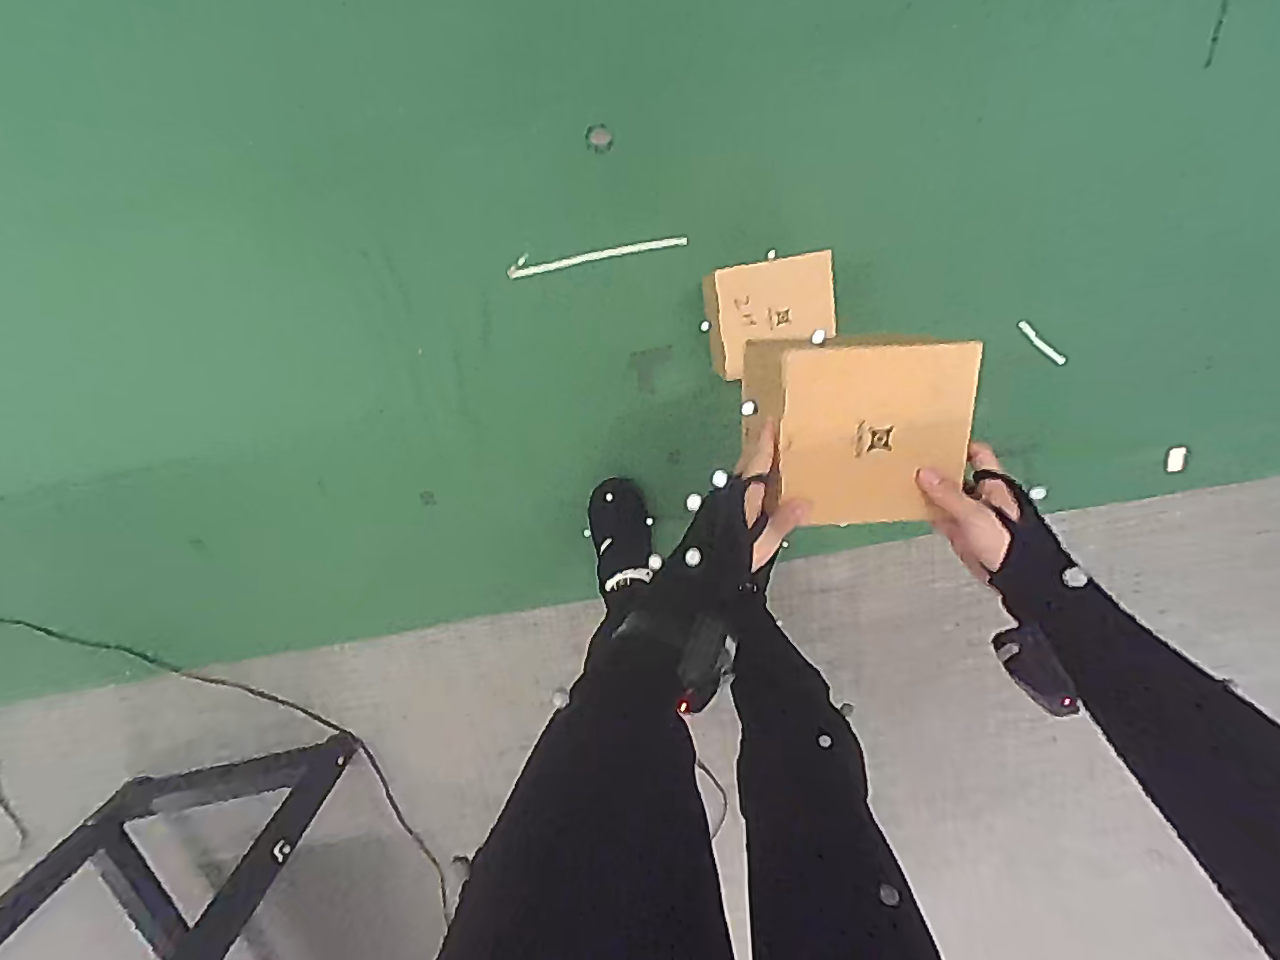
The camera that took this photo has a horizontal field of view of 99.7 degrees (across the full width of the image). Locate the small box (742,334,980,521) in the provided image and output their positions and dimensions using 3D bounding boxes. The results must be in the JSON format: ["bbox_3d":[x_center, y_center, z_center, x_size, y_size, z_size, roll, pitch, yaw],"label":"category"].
[{"bbox_3d":[0.214,-0.065,0.574,0.179,0.176,0.168,-2,107,0],"label":"small box"}]

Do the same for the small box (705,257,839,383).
[{"bbox_3d":[0.212,-0.264,0.895,0.179,0.176,0.168,-9,106,2],"label":"small box"}]
